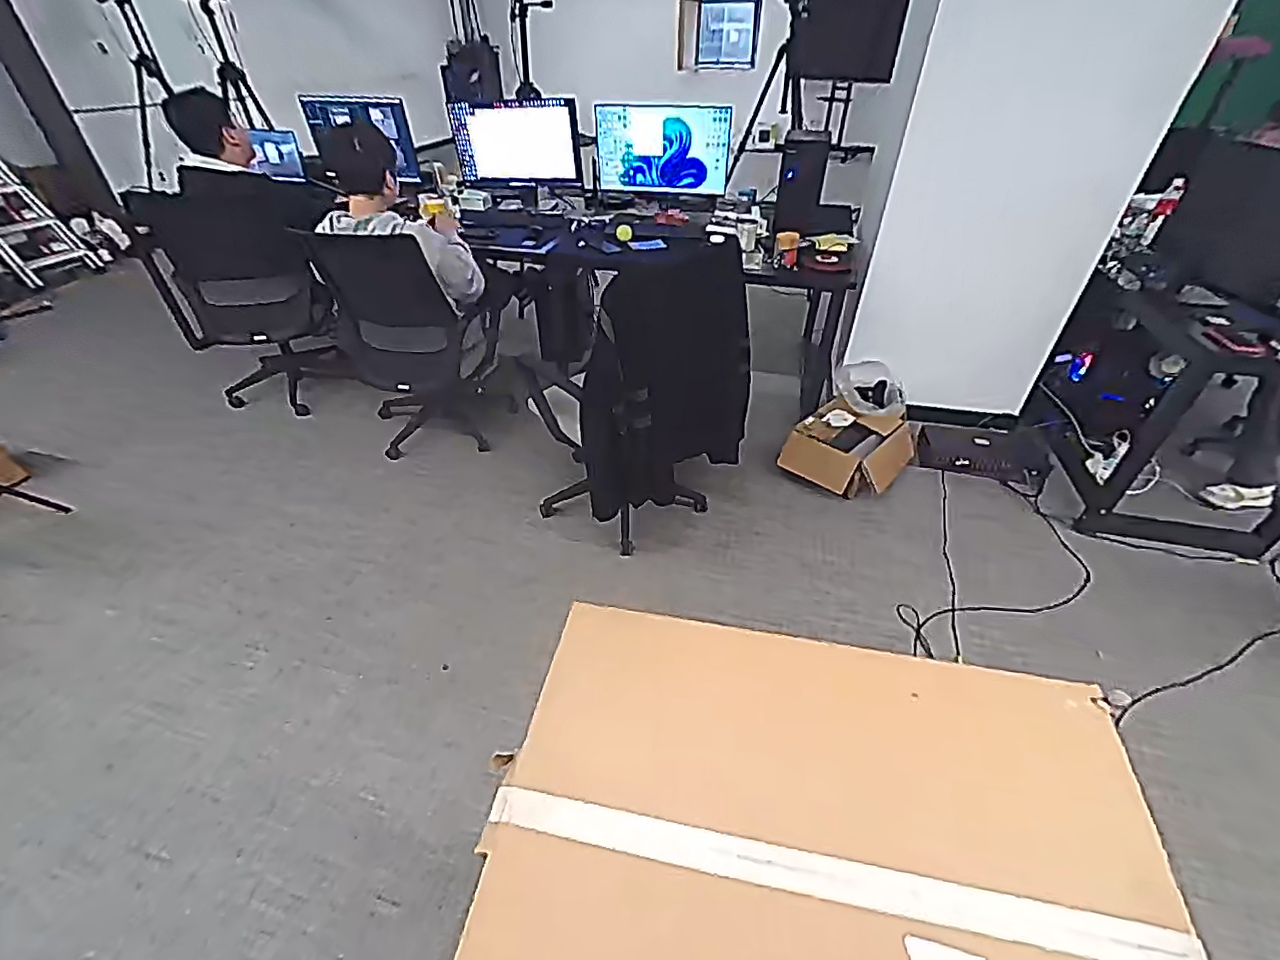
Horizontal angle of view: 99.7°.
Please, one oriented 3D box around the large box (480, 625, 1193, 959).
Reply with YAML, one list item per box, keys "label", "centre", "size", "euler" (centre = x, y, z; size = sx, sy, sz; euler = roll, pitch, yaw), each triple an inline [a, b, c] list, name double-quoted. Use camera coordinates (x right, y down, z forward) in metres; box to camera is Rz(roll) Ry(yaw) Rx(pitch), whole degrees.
- label: "large box"
  centre: [0.117, 0.354, 0.435]
  size: [0.408, 0.320, 0.320]
  euler: [7, 47, 9]
